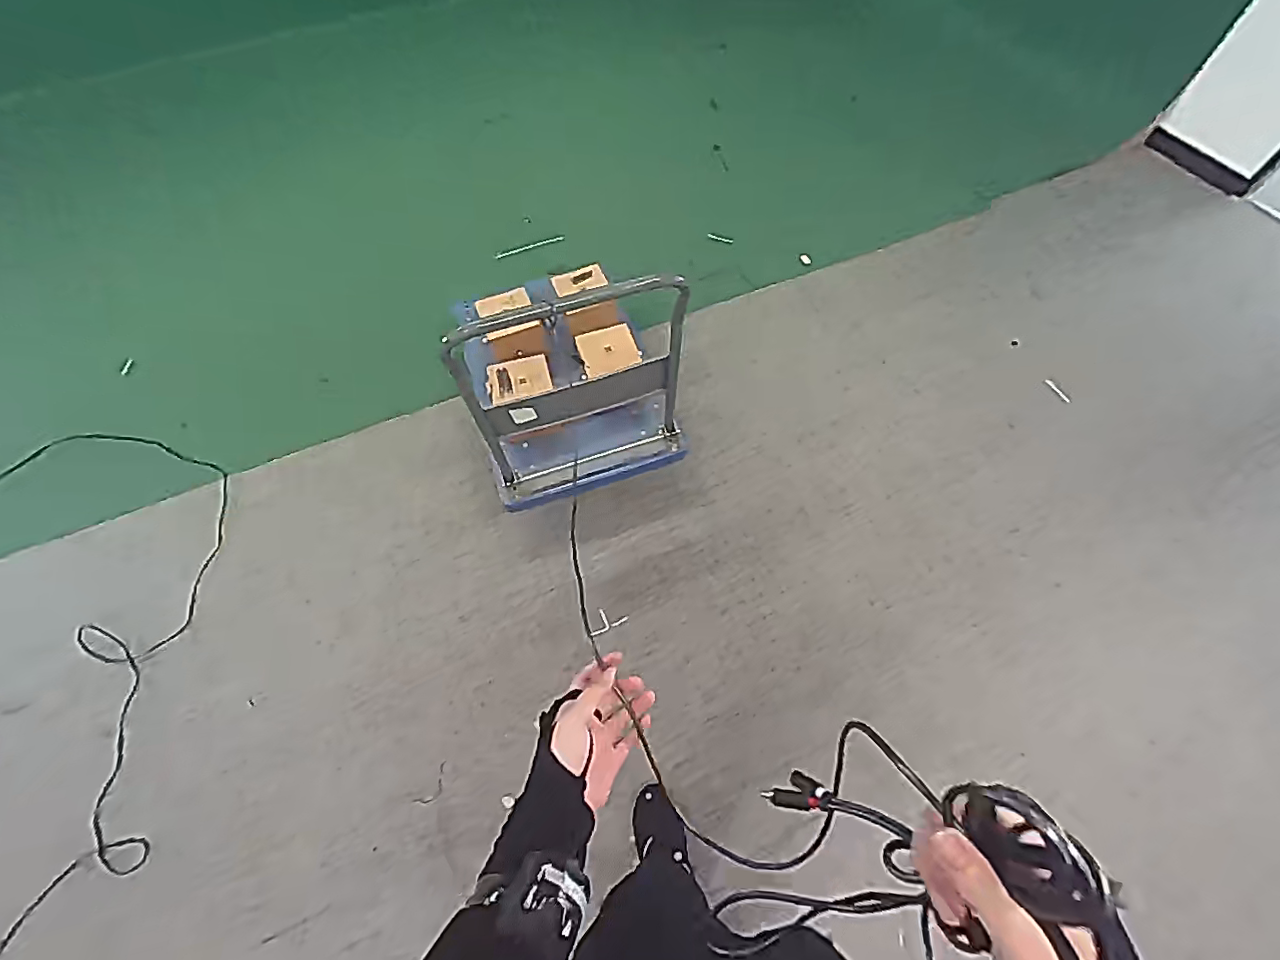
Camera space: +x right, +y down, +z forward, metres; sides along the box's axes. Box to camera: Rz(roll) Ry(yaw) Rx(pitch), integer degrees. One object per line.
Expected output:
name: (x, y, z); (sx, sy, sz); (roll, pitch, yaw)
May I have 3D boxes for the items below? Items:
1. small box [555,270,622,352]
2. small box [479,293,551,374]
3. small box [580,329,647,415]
small box: (-0.167, -0.554, 1.788); (0.168, 0.176, 0.179); (-21, 64, -8)
small box: (-0.399, -0.464, 1.750); (0.168, 0.176, 0.179); (-21, 63, -9)
small box: (-0.080, -0.330, 1.665); (0.168, 0.176, 0.179); (-17, 63, -6)
